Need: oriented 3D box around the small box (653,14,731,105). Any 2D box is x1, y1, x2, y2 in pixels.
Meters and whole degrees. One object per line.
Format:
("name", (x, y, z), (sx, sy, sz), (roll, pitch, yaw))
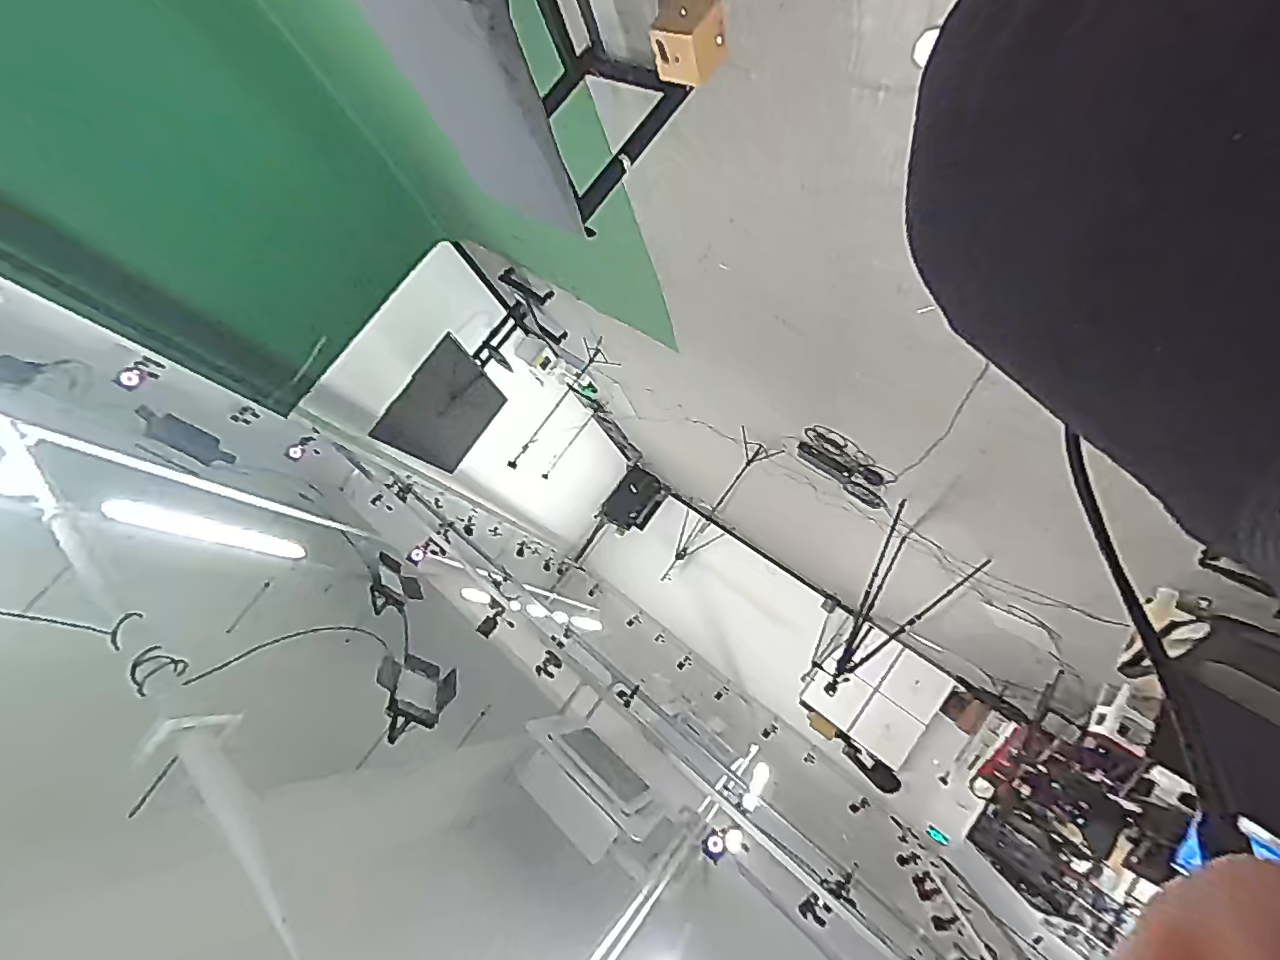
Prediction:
("small box", (0.175, -1.390, 1.783), (0.179, 0.176, 0.168), (32, 172, 26))
